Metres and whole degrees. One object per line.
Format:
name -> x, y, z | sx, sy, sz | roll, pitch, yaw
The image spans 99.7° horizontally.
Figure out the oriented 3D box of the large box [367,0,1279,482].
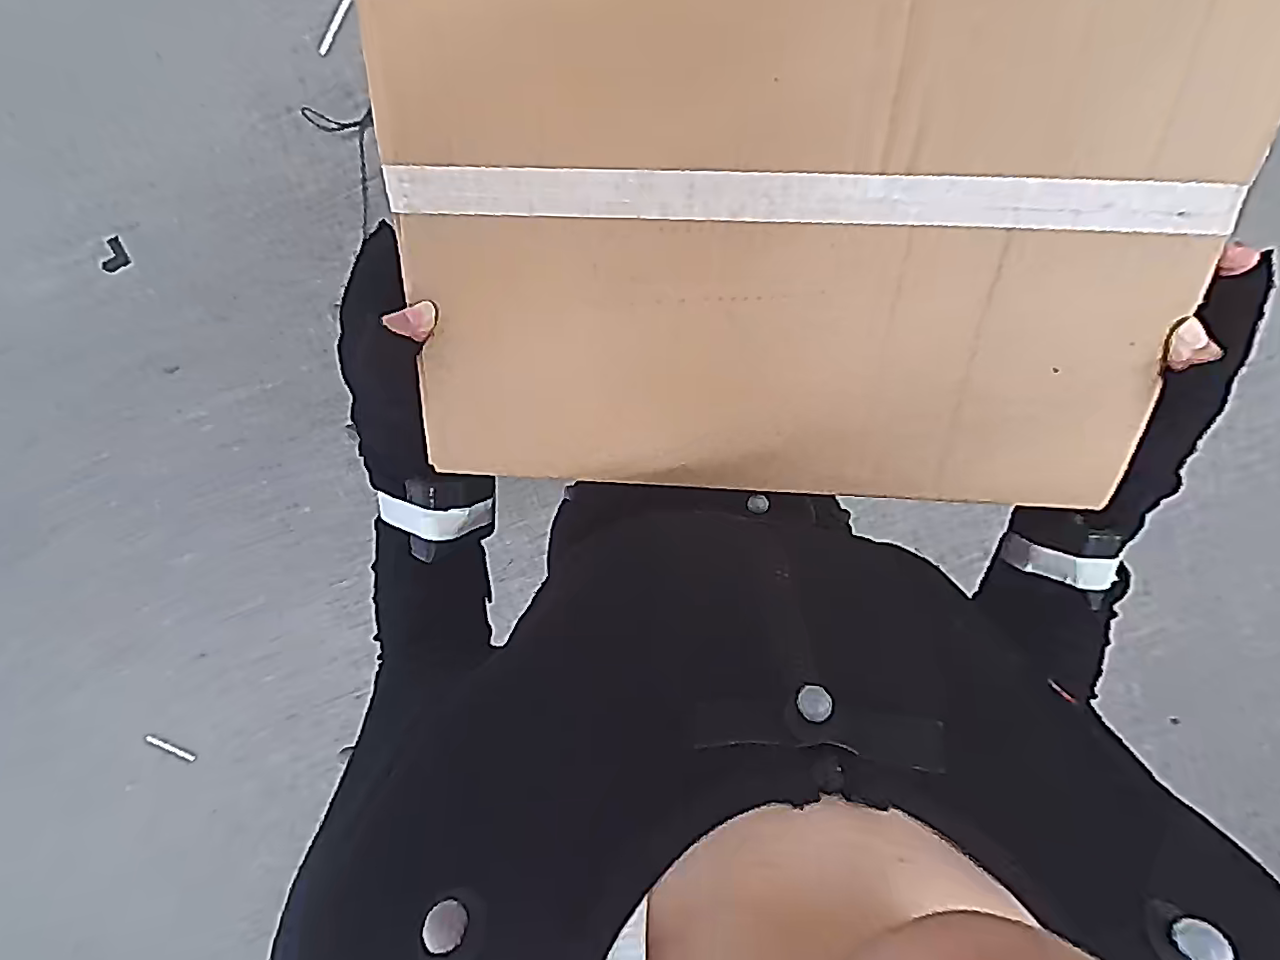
large box -> 0.079, -0.204, 0.407 | 0.408, 0.320, 0.320 | 2, 116, 3
